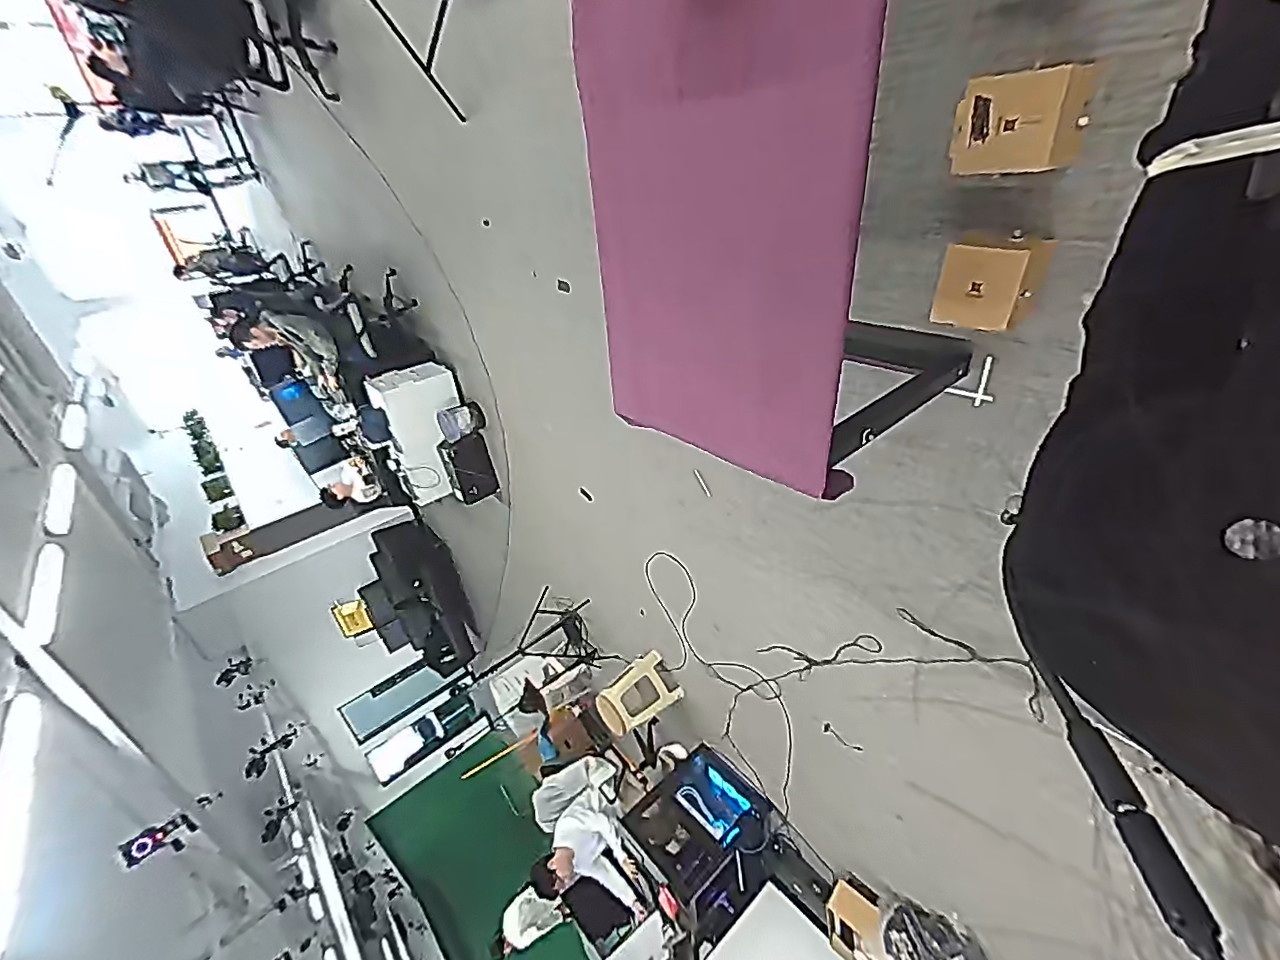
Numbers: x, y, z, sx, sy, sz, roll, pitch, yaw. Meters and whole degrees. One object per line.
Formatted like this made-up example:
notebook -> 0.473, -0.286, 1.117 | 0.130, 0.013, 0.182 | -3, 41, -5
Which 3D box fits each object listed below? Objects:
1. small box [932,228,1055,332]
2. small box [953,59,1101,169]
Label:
small box -> 0.804, -0.460, 1.231 | 0.168, 0.176, 0.179 | 30, 136, 39
small box -> 0.766, -0.722, 1.079 | 0.179, 0.176, 0.168 | 27, 135, 42
